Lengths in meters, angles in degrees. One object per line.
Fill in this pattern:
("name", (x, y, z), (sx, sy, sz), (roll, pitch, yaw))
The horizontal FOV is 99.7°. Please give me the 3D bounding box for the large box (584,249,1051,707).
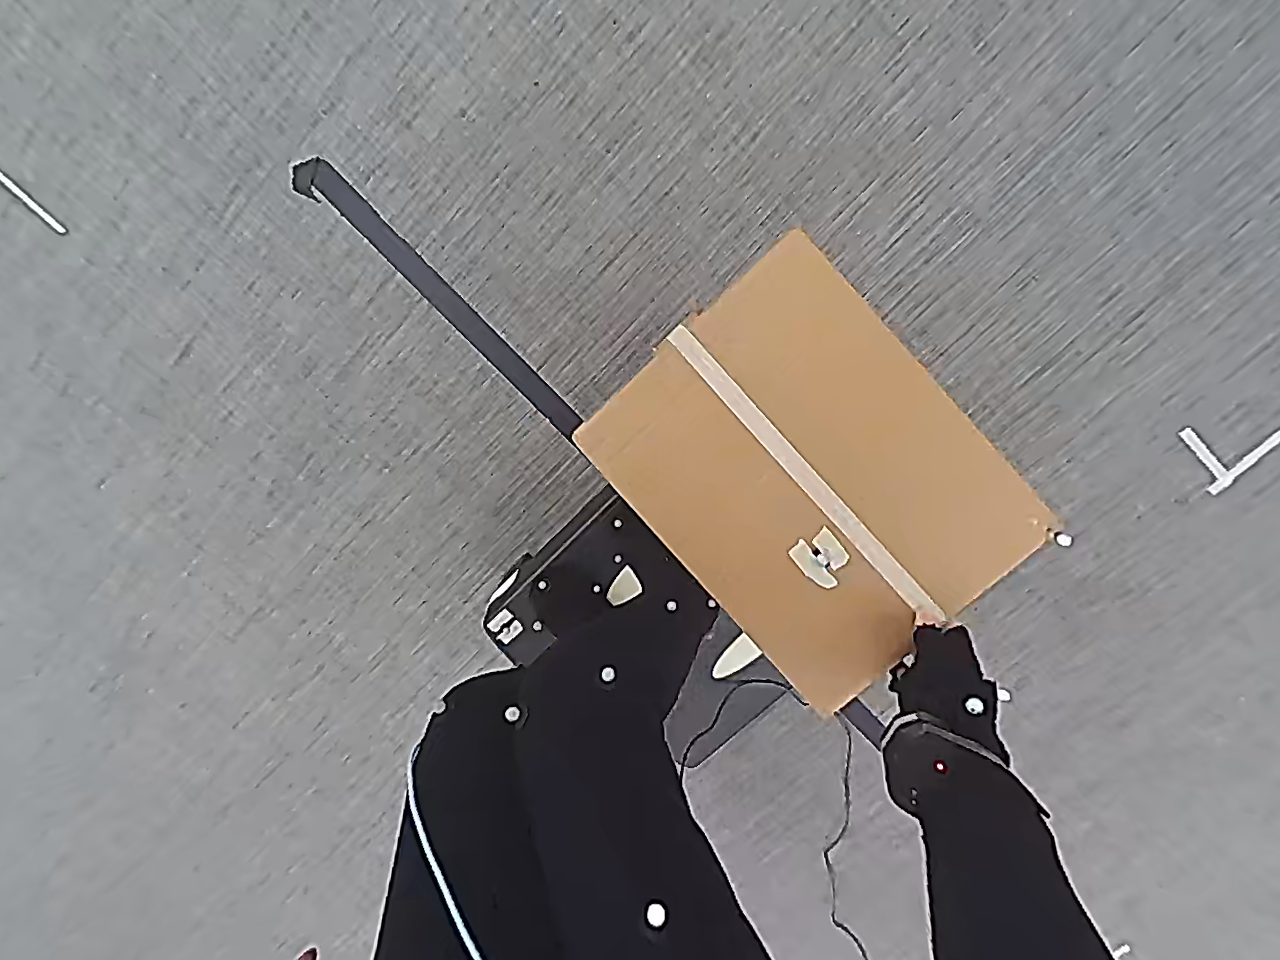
("large box", (0.190, -0.009, 0.716), (0.320, 0.320, 0.408), (-42, 92, 8))
